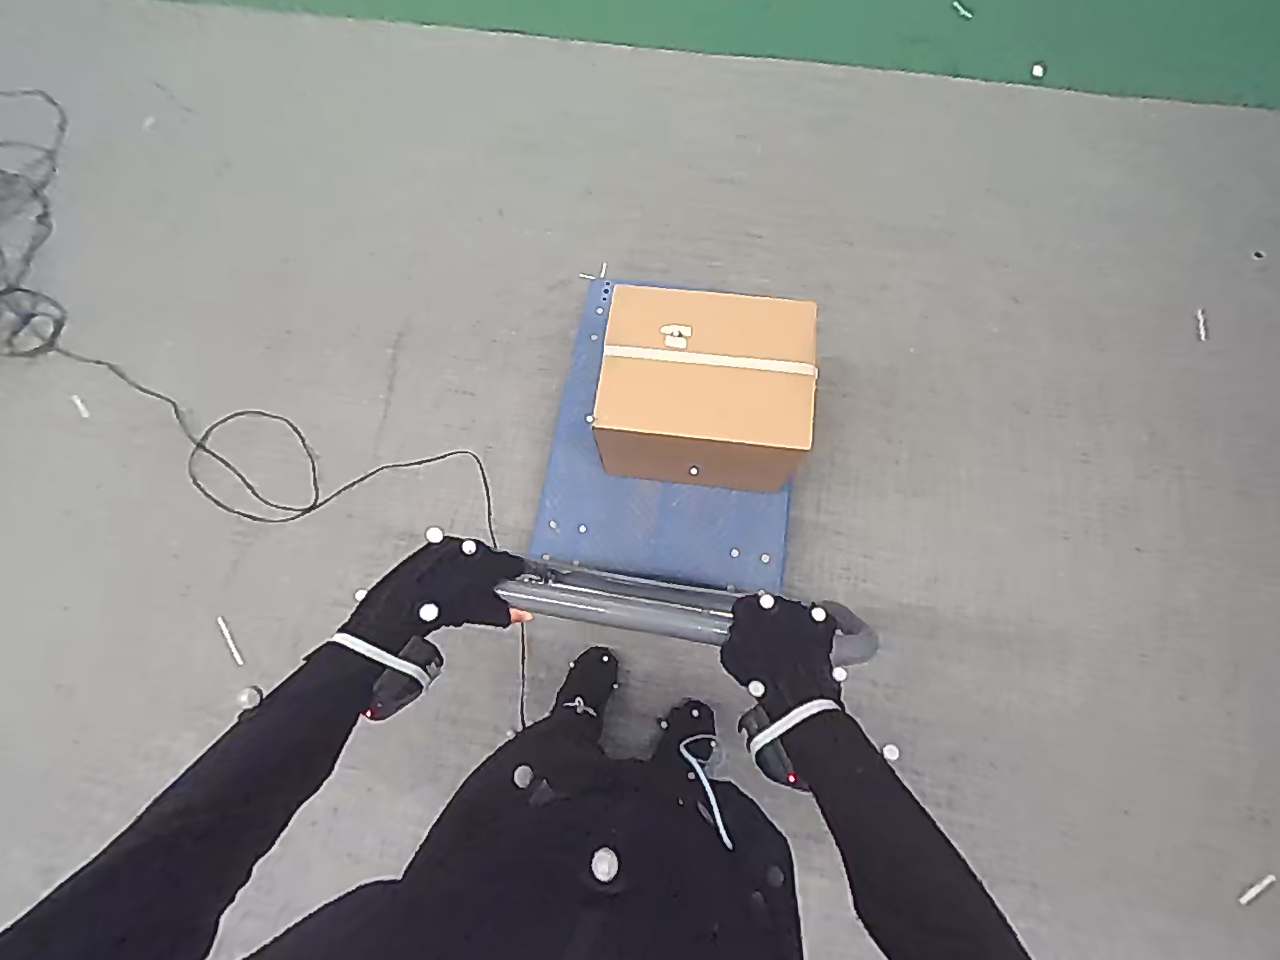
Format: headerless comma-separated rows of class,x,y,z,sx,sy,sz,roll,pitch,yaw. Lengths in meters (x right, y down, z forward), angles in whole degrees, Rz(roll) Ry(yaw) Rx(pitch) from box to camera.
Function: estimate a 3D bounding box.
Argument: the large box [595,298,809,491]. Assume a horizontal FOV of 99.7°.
large box,0.133,-0.170,1.189,0.408,0.320,0.320,5,73,4
